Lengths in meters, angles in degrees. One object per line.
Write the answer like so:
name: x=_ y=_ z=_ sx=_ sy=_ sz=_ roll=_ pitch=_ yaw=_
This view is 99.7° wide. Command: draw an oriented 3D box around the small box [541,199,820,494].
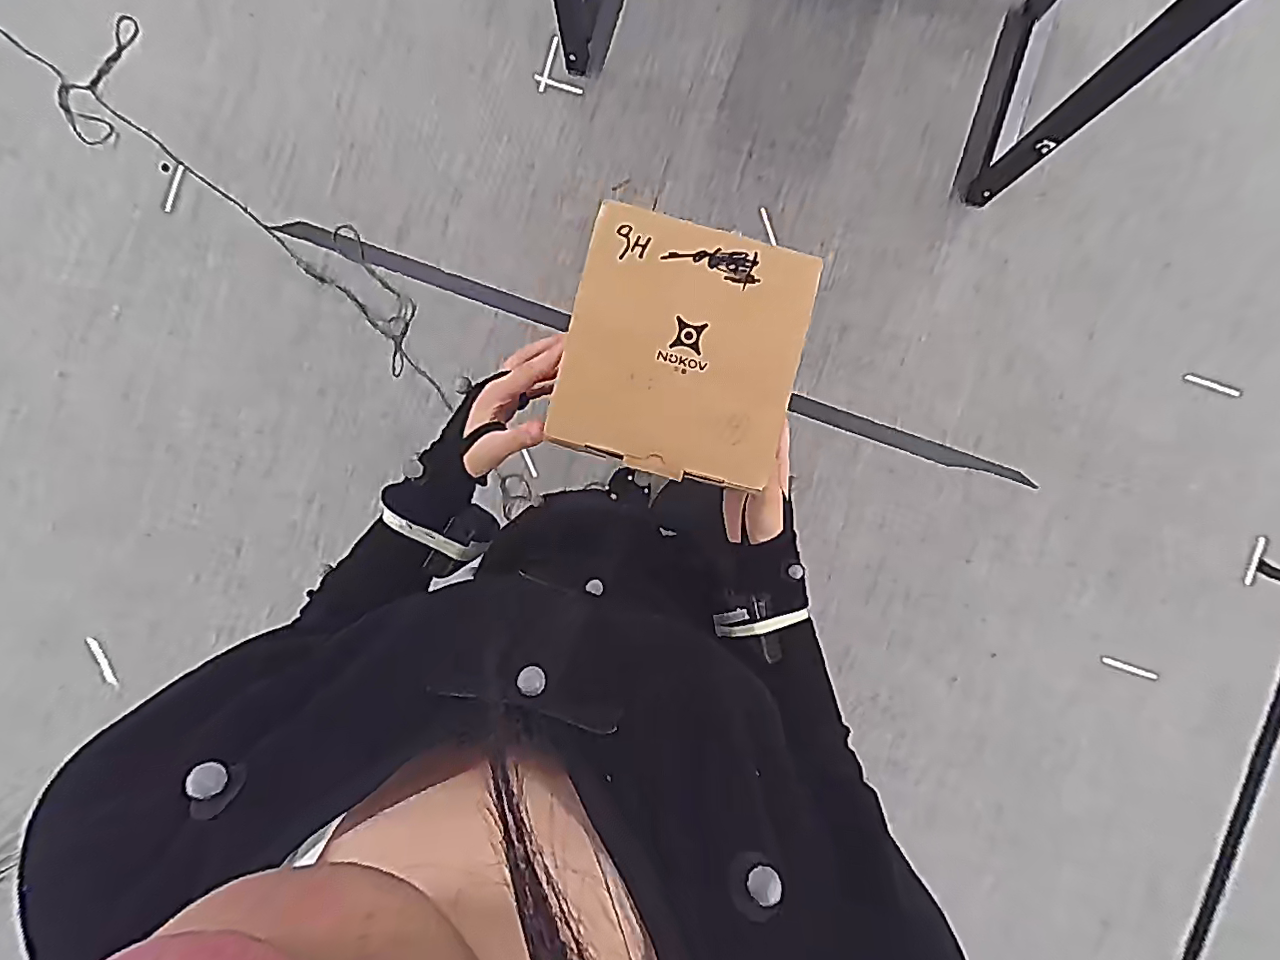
small box: x=0.027 y=-0.096 z=0.463 sx=0.168 sy=0.176 sz=0.179 roll=15 pitch=91 yaw=-3

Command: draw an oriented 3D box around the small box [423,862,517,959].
small box: x=-0.442 y=1.168 z=1.426 sx=0.168 sy=0.176 sz=0.179 roll=21 pitch=91 yaw=-1
